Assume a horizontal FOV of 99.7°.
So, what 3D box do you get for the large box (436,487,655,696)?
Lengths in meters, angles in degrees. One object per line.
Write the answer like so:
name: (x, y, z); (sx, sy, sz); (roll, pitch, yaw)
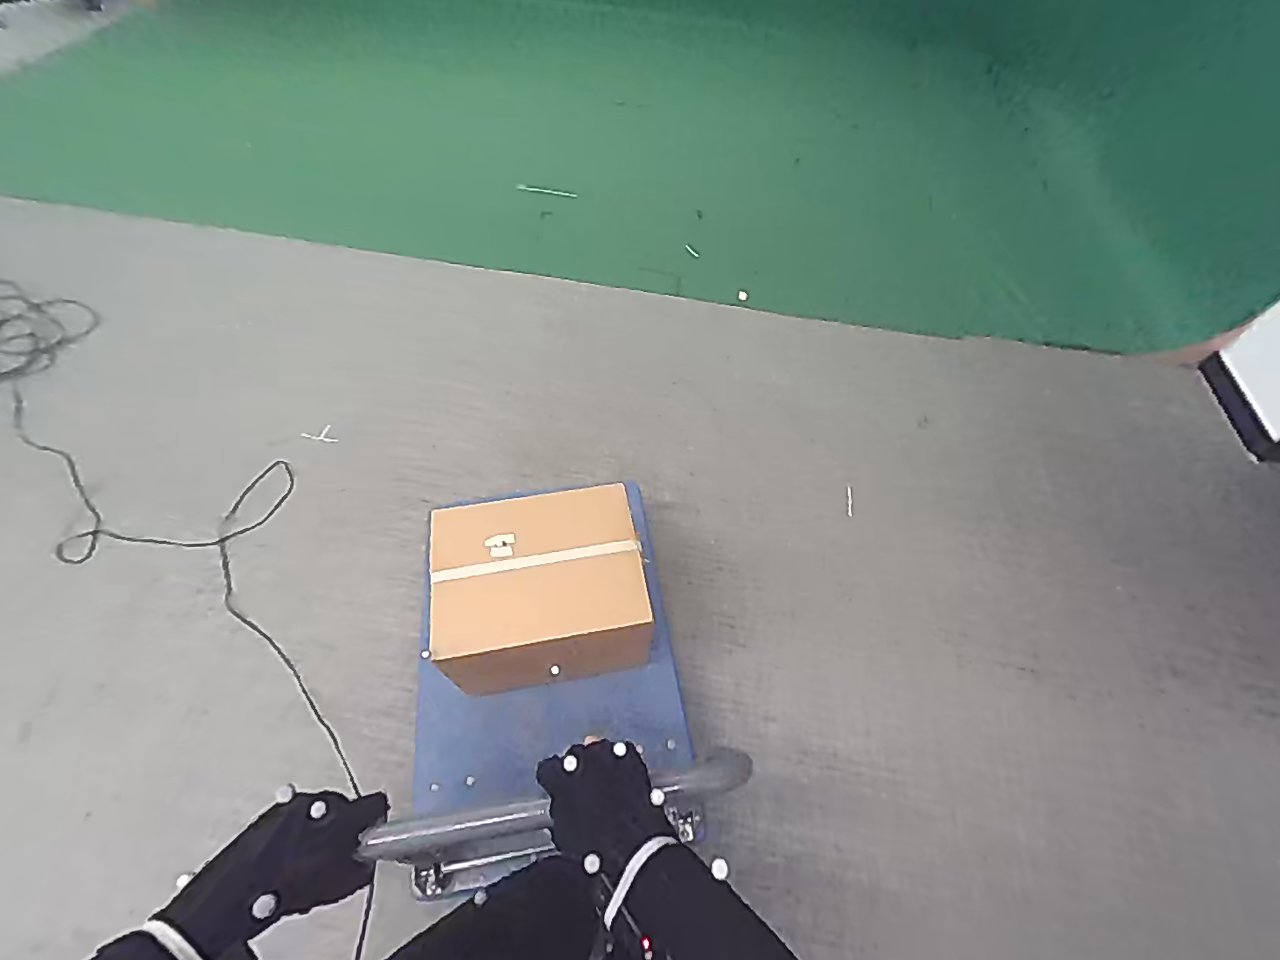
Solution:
large box: (-0.198, 0.251, 1.187); (0.408, 0.320, 0.320); (-9, 57, -8)
